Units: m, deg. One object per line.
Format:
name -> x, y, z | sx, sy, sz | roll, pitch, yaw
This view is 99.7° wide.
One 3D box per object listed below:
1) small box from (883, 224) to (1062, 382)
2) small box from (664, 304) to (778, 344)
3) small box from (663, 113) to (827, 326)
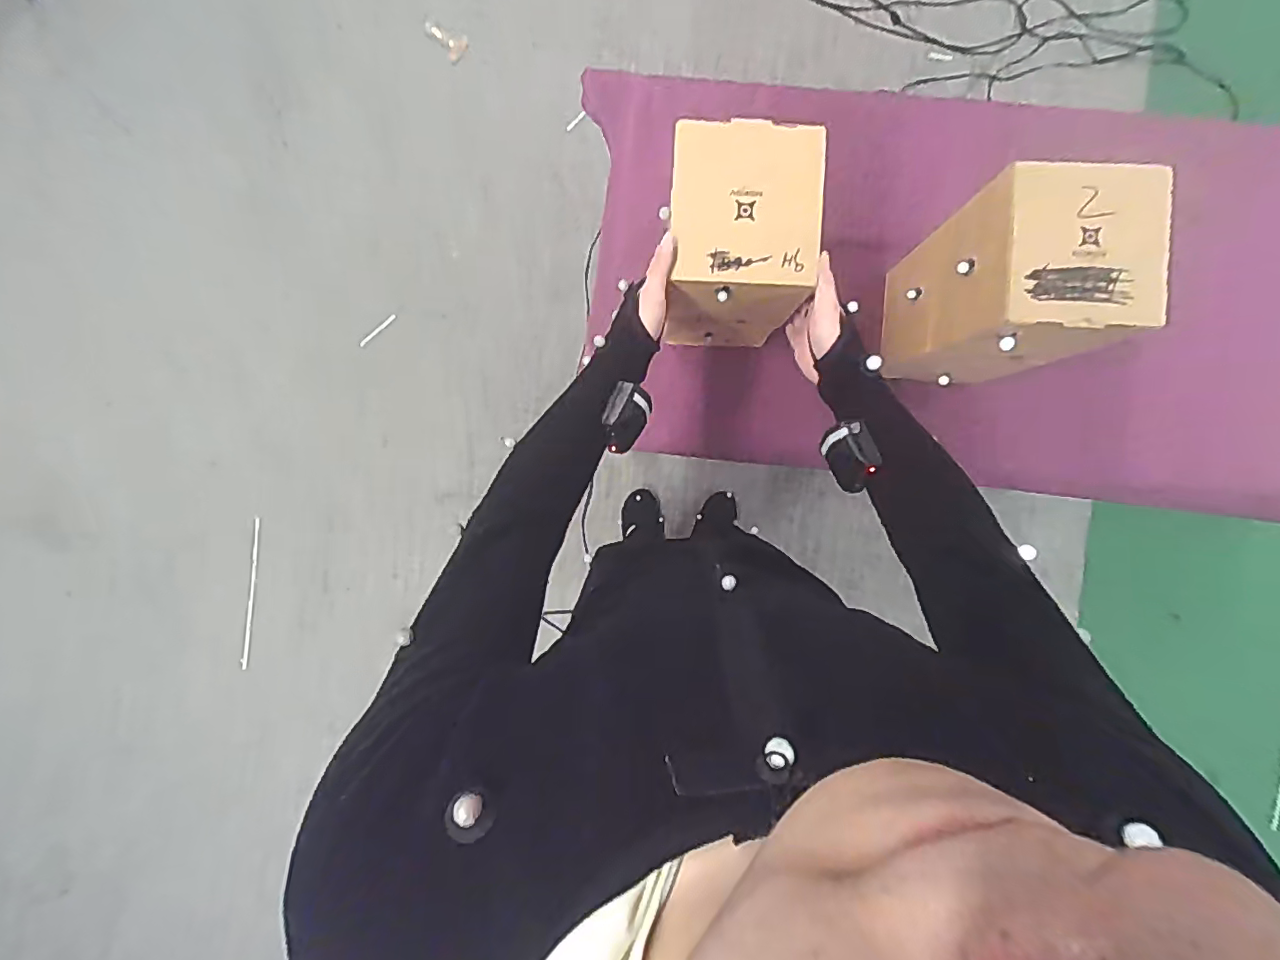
small box -> 0.481, -0.254, 0.807 | 0.168, 0.176, 0.179 | 4, 91, 2
small box -> 0.123, -0.317, 0.821 | 0.168, 0.176, 0.179 | 1, 91, 2
small box -> 0.115, -0.302, 0.657 | 0.168, 0.176, 0.179 | 3, 90, 2
